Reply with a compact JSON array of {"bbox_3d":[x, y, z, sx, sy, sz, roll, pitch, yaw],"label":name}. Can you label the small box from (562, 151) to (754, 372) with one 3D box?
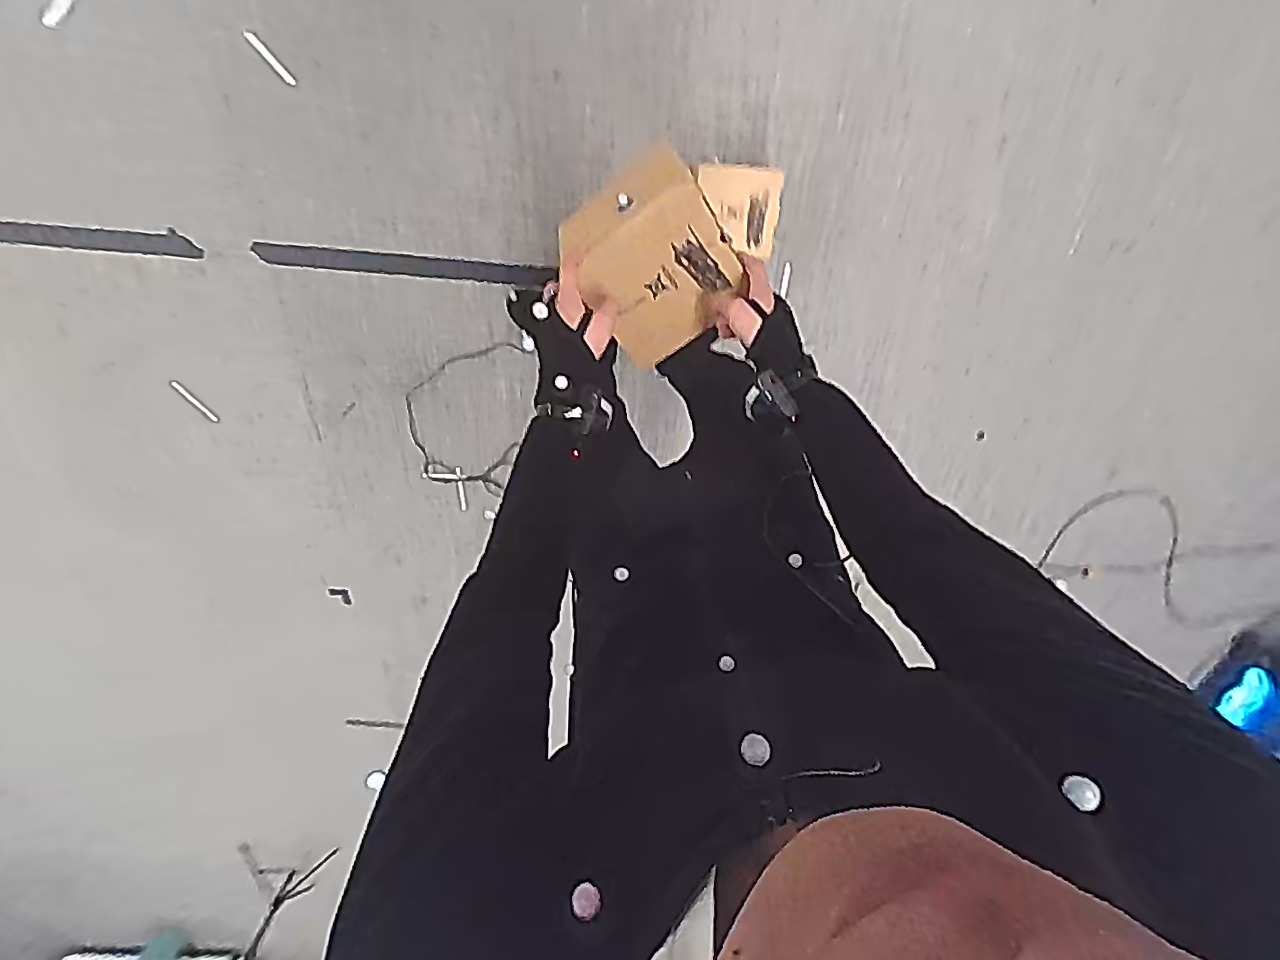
[{"bbox_3d":[0.013,-0.281,0.690,0.179,0.176,0.168,-32,128,18],"label":"small box"}]
